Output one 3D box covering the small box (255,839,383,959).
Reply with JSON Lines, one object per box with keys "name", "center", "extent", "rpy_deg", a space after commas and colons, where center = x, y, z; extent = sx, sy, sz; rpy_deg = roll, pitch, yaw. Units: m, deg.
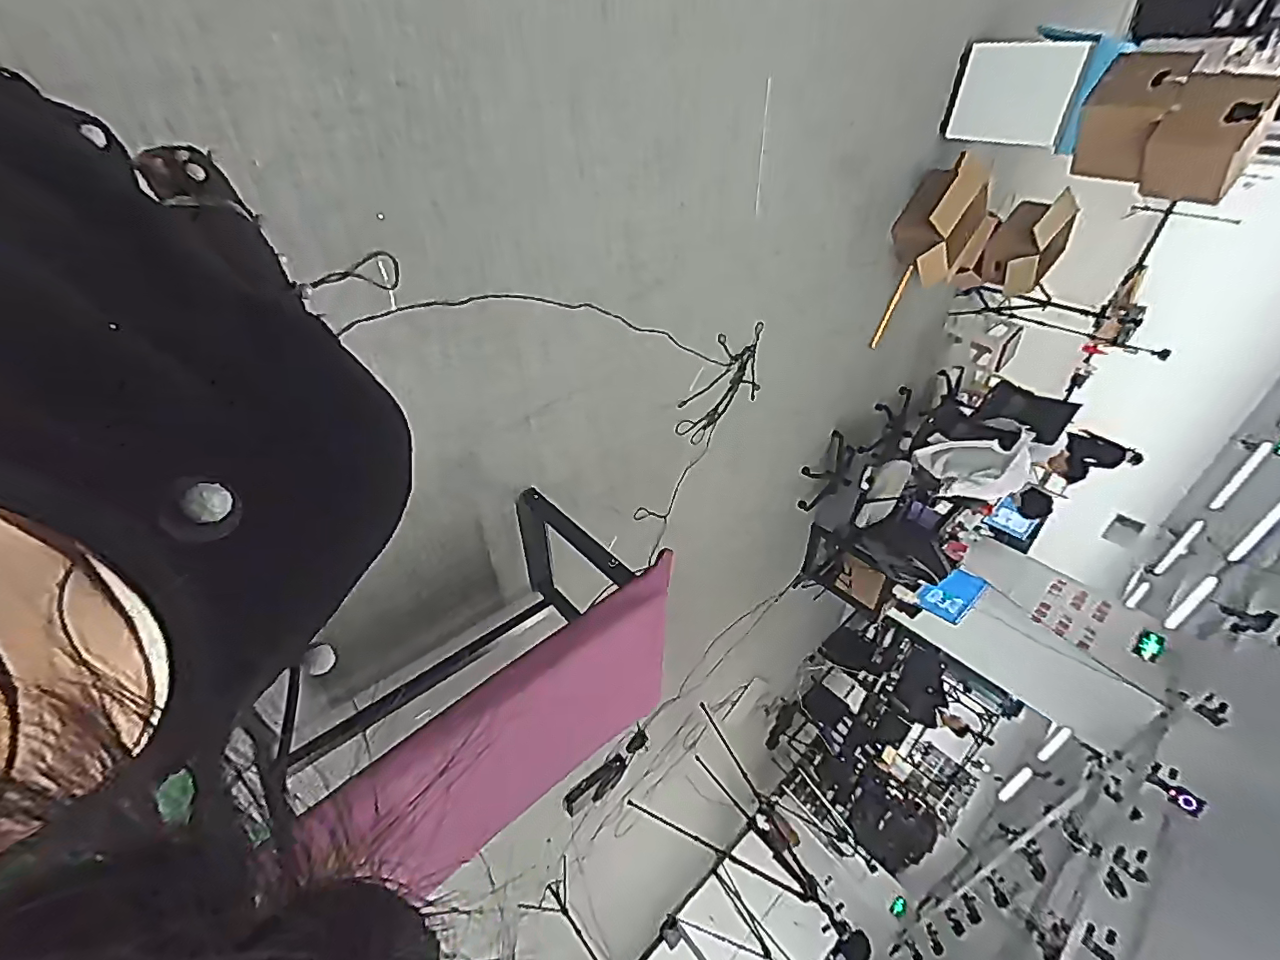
{"name": "small box", "center": [-0.667, 0.899, 1.126], "extent": [0.168, 0.176, 0.179], "rpy_deg": [-26, 133, -34]}
